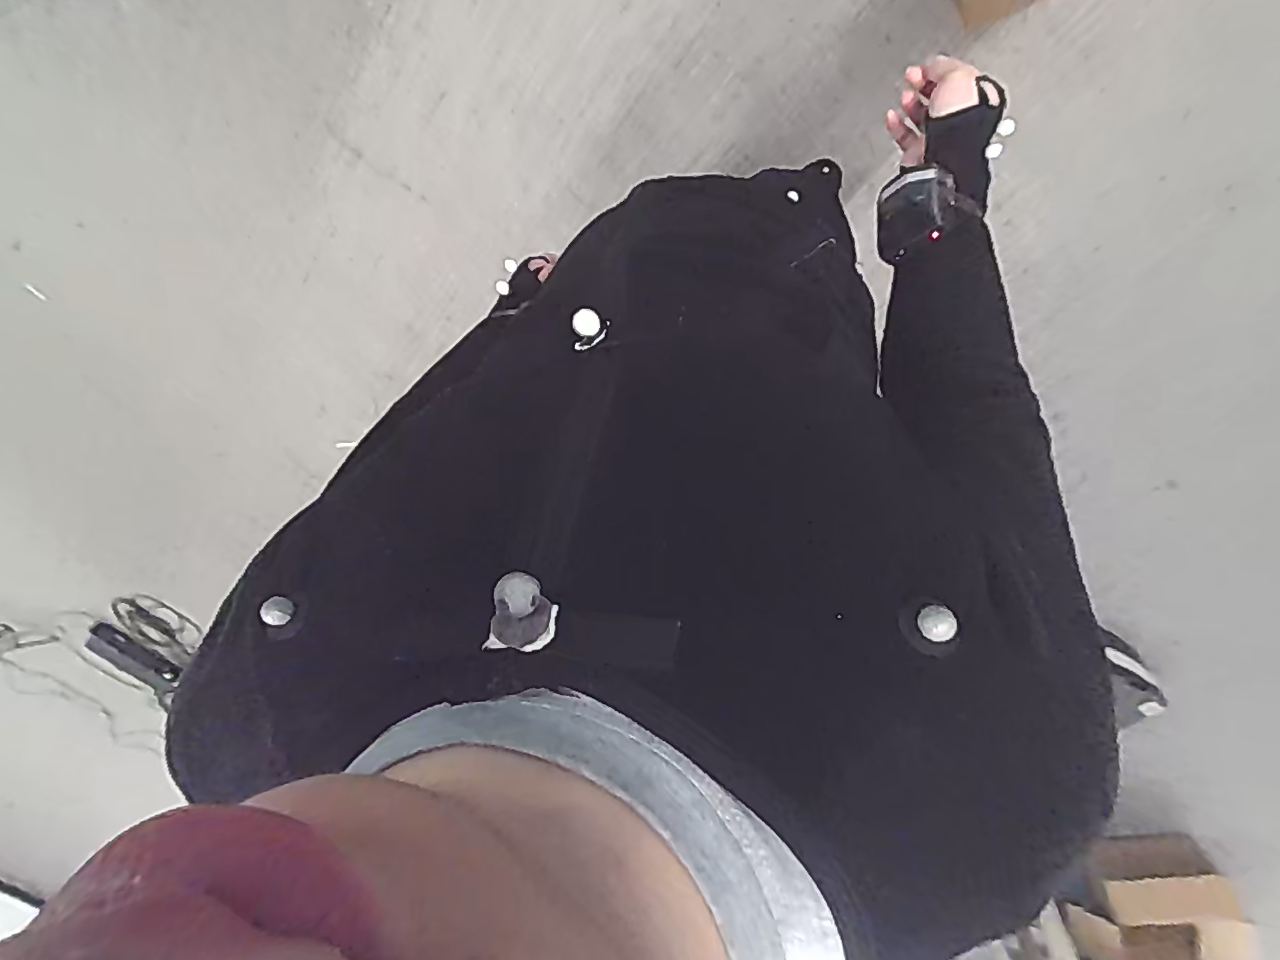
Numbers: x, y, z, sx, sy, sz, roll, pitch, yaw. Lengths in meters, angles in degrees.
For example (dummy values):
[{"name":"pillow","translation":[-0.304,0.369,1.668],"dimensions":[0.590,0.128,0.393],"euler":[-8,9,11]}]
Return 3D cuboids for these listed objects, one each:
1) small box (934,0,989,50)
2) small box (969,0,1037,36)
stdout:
[{"name":"small box","translation":[0.648,-0.924,0.968],"dimensions":[0.179,0.176,0.168],"euler":[-30,110,27]},{"name":"small box","translation":[0.620,-0.839,0.831],"dimensions":[0.179,0.176,0.168],"euler":[-29,111,26]}]
